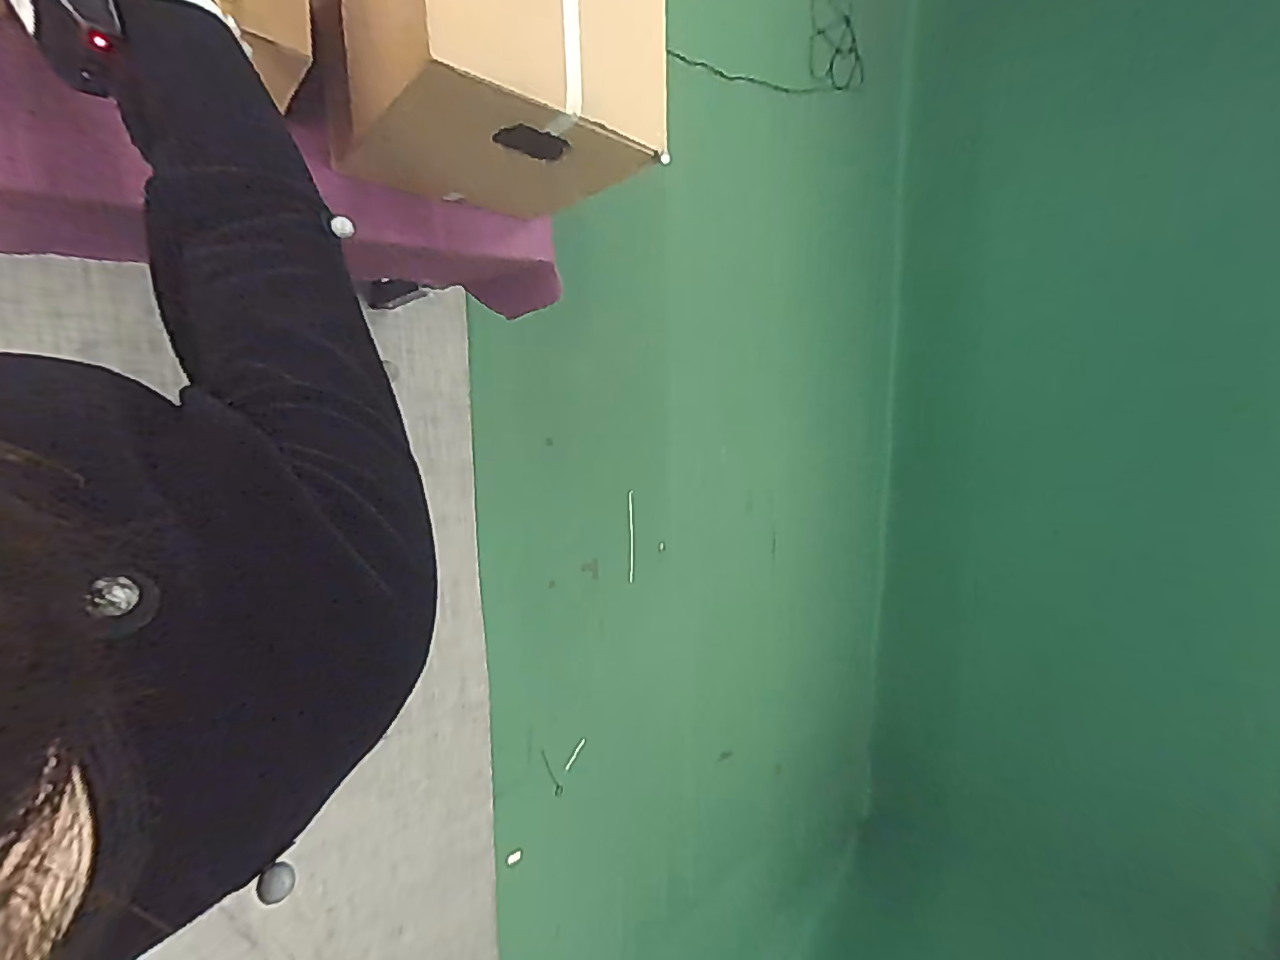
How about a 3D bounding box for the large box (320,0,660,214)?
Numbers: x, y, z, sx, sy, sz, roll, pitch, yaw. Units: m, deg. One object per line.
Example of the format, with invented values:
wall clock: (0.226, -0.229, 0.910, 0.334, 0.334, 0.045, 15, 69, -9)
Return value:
large box: (-0.190, -0.612, 0.678, 0.320, 0.320, 0.408, -9, 102, -43)
